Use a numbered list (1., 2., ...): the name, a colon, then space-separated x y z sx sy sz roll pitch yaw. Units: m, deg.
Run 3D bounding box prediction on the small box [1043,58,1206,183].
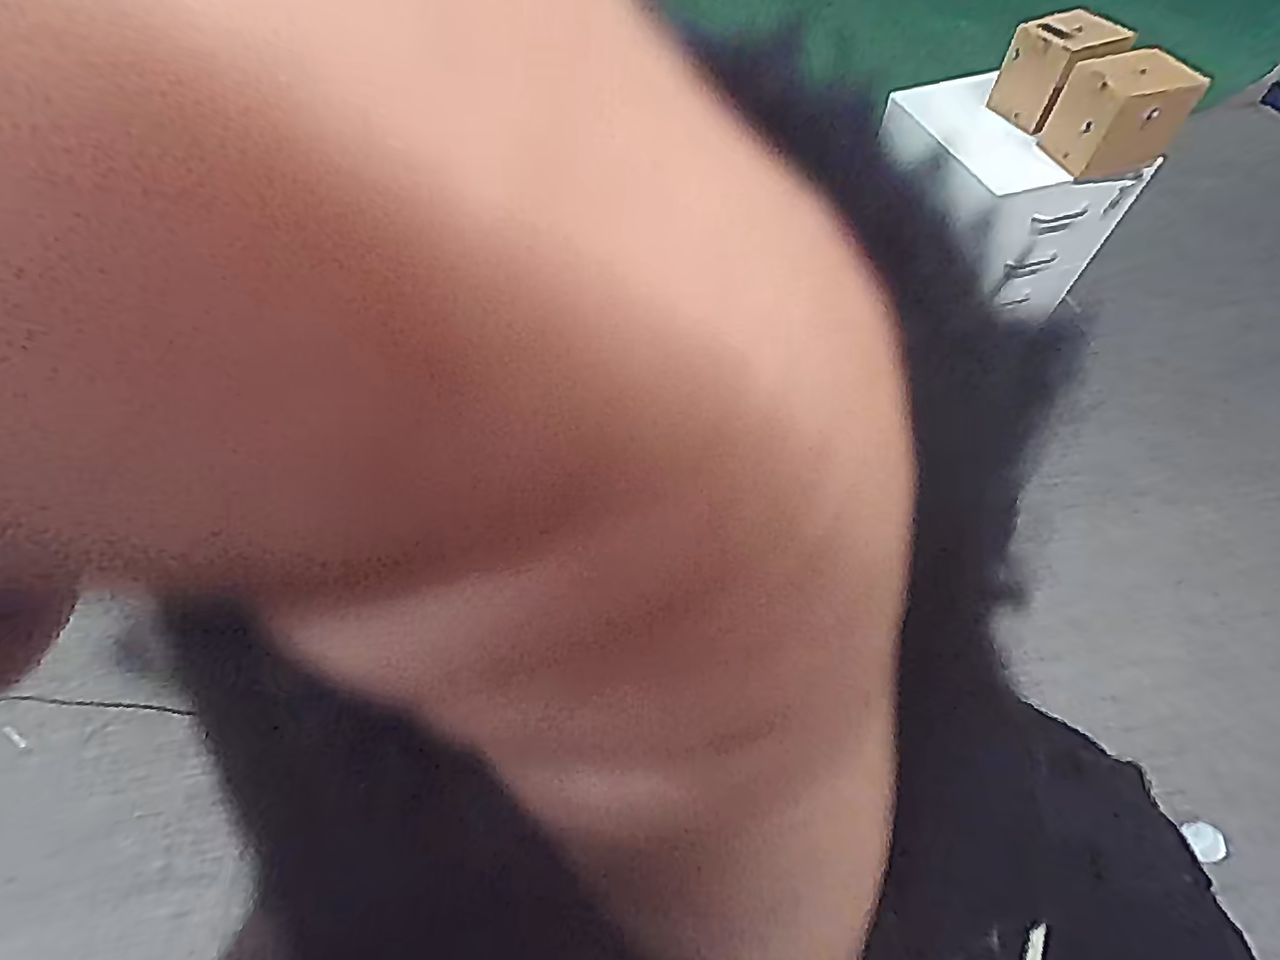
1. small box: 1.019 -0.767 1.164 0.179 0.176 0.168 -10 58 -1
